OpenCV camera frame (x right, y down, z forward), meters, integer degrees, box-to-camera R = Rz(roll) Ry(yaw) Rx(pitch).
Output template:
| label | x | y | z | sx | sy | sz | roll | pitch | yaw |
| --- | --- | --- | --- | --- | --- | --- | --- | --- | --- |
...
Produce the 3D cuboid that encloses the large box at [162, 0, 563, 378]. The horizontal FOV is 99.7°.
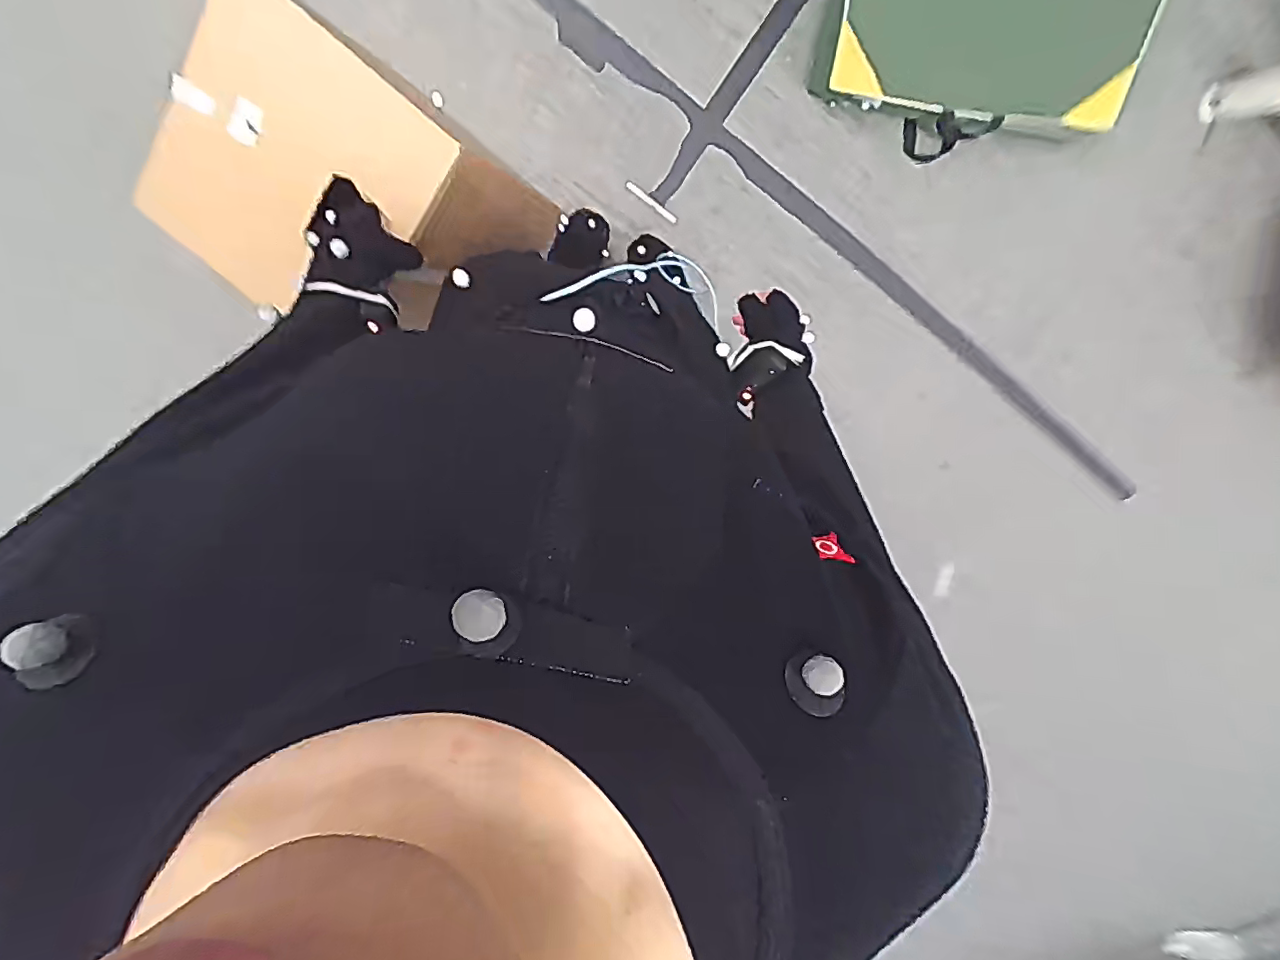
| label | x | y | z | sx | sy | sz | roll | pitch | yaw |
| --- | --- | --- | --- | --- | --- | --- | --- | --- | --- |
| large box | -0.373 | -0.395 | 0.822 | 0.320 | 0.408 | 0.320 | 39 | 109 | -6 |
